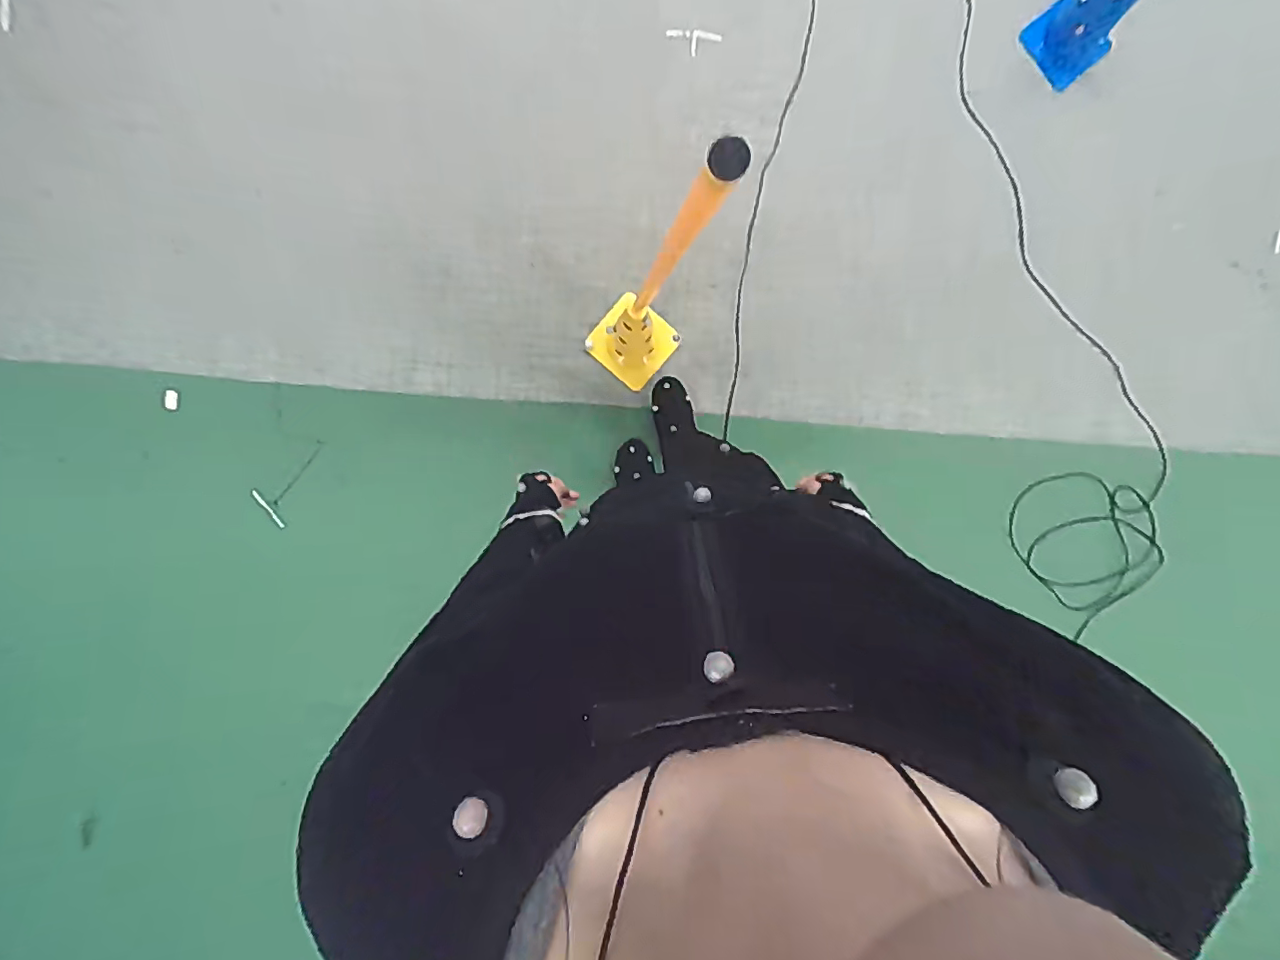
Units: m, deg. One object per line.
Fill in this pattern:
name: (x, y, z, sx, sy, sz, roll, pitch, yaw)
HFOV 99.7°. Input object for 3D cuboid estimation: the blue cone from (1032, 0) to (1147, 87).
blue cone: (1.174, -1.181, 1.291, 0.193, 0.380, 0.192, -42, 93, -2)
